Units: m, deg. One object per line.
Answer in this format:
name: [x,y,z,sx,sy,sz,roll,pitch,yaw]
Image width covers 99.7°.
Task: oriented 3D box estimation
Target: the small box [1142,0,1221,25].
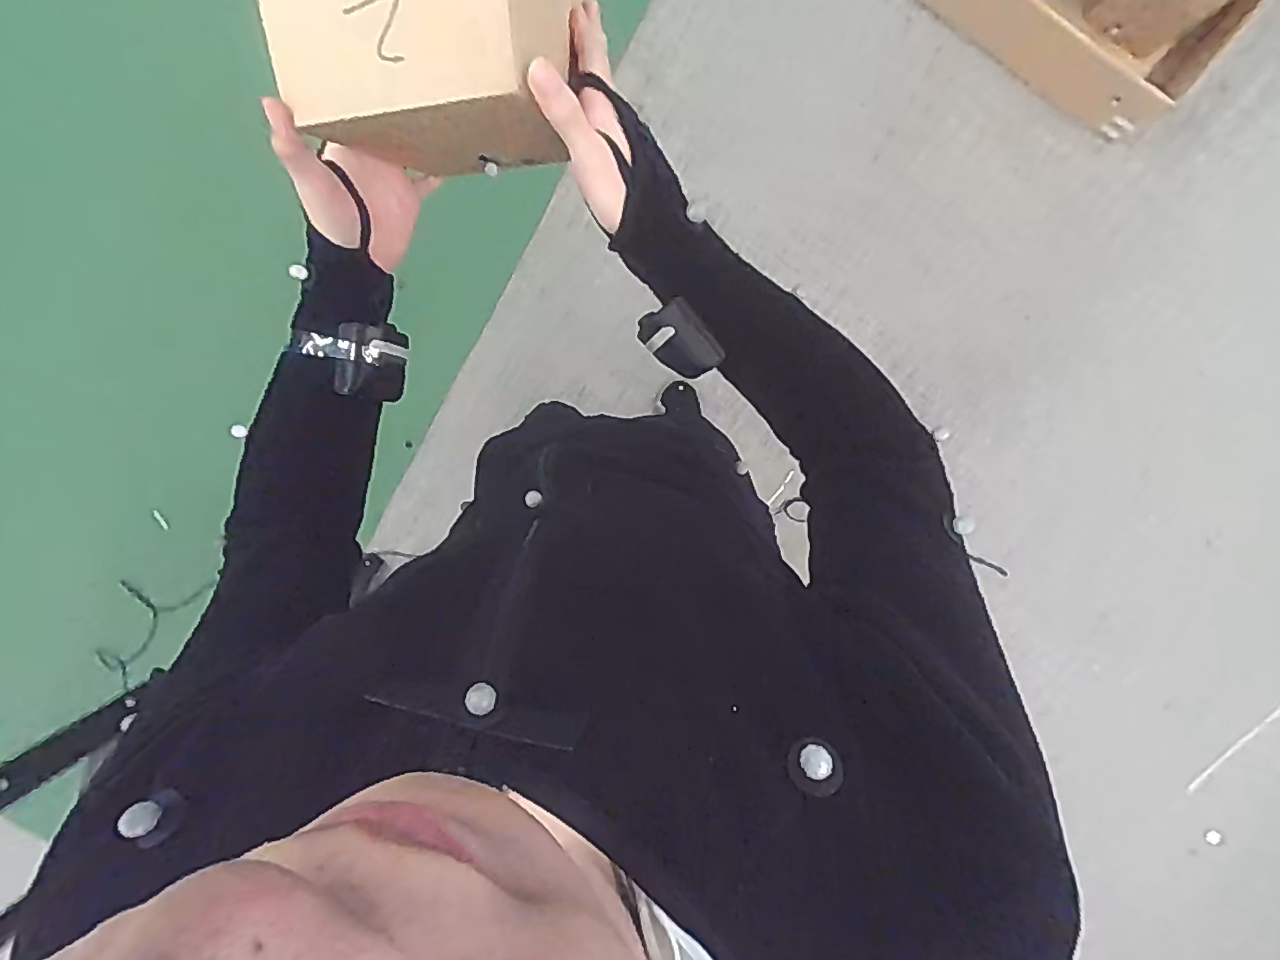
small box: [1.048,-0.993,0.972,0.168,0.176,0.179,35,104,1]
